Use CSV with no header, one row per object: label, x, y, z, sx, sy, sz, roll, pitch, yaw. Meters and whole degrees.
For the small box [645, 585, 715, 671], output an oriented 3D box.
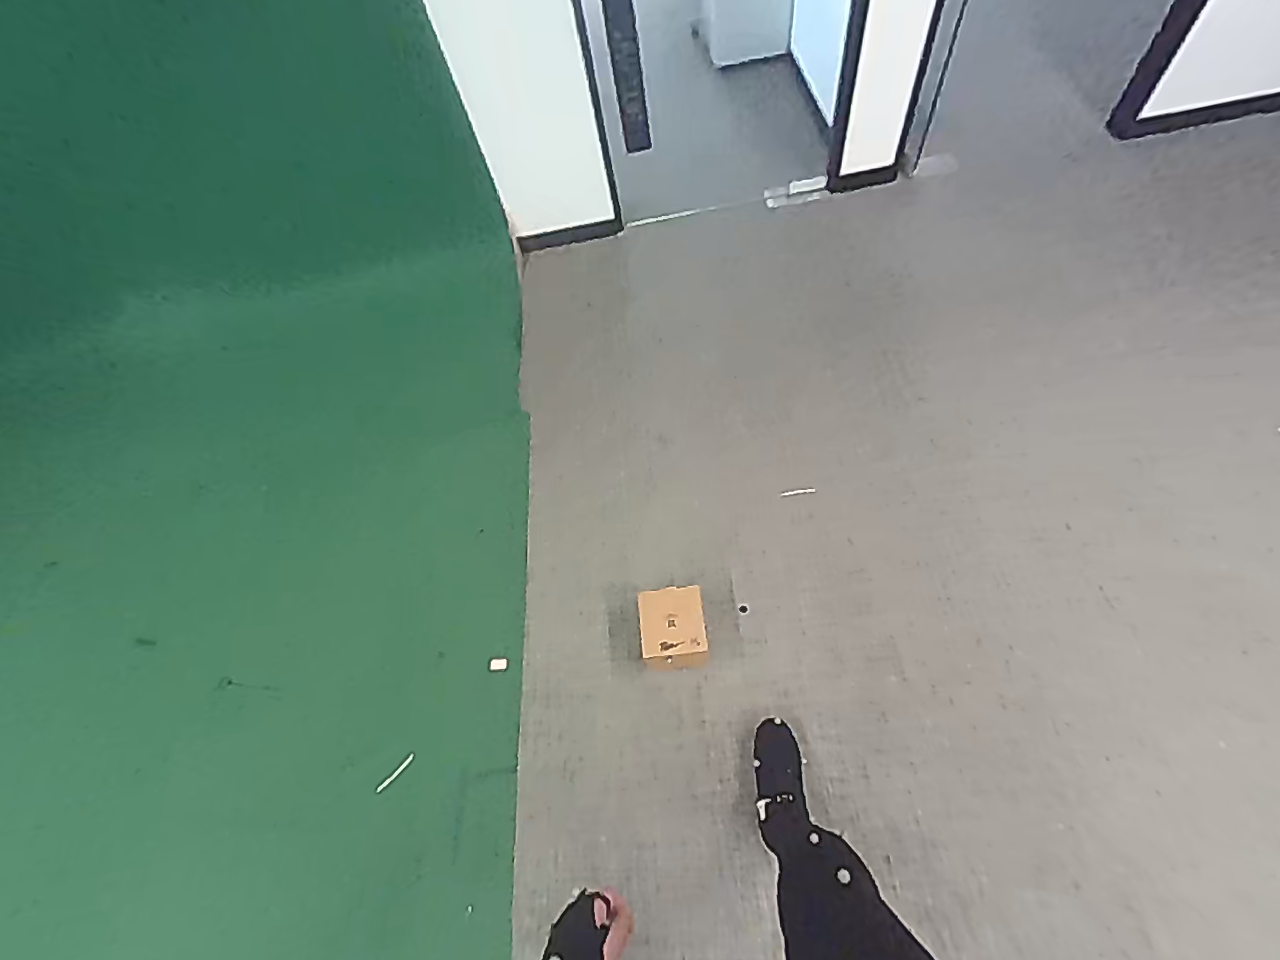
small box,0.108,0.403,1.462,0.168,0.176,0.179,-8,58,6
